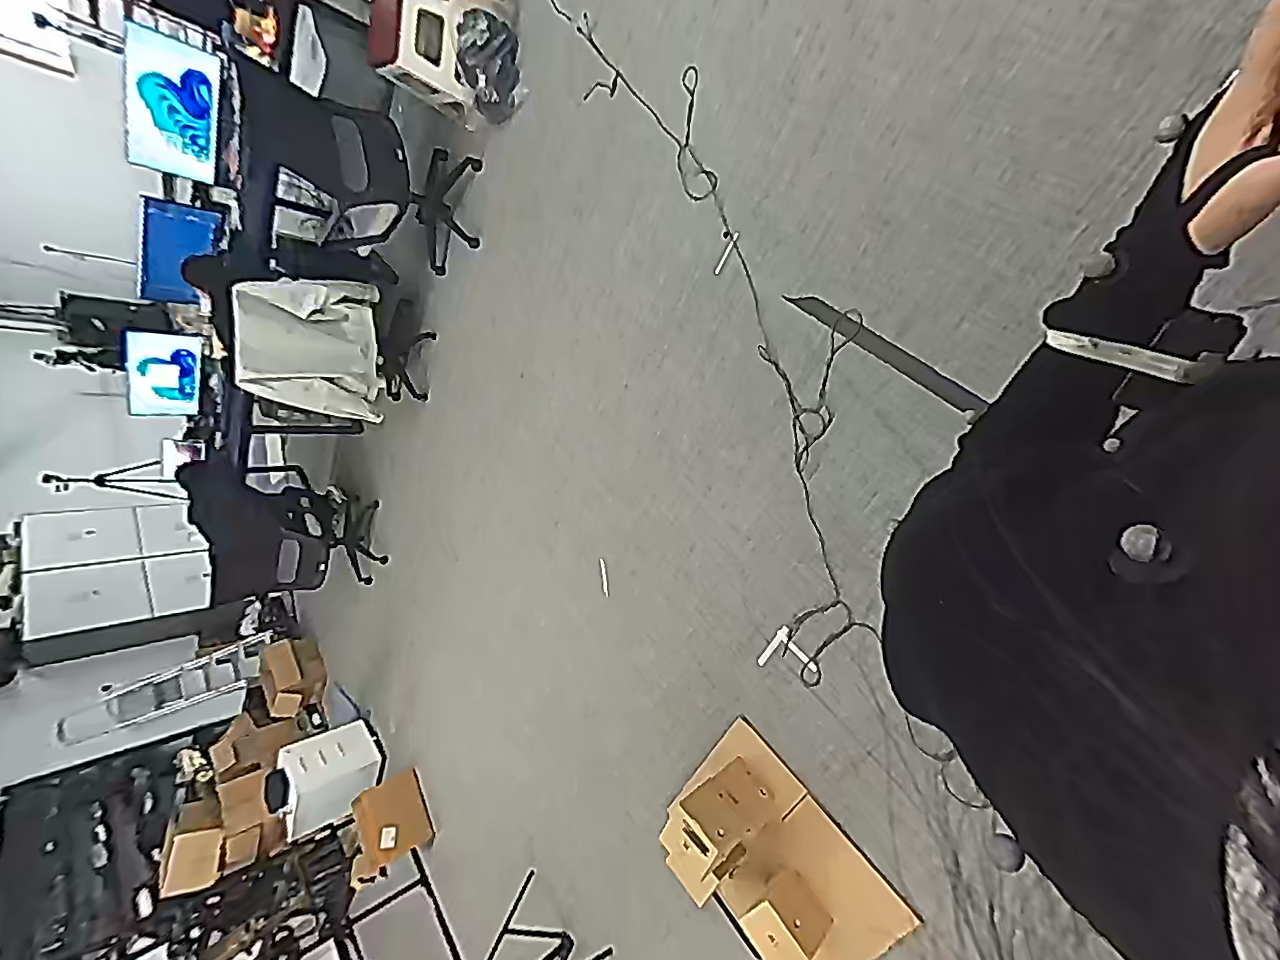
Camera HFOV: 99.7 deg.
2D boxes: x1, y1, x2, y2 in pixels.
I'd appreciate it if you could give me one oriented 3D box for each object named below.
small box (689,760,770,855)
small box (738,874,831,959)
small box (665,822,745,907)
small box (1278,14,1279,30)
[{"bbox_3d":[0.297,1.058,1.761,0.168,0.176,0.179,39,119,34],"label":"small box"},{"bbox_3d":[0.442,1.350,1.650,0.179,0.176,0.168,47,122,28],"label":"small box"},{"bbox_3d":[0.223,1.290,1.853,0.179,0.176,0.168,38,119,33],"label":"small box"},{"bbox_3d":[0.368,-0.212,0.175,0.168,0.176,0.179,31,112,48],"label":"small box"}]
